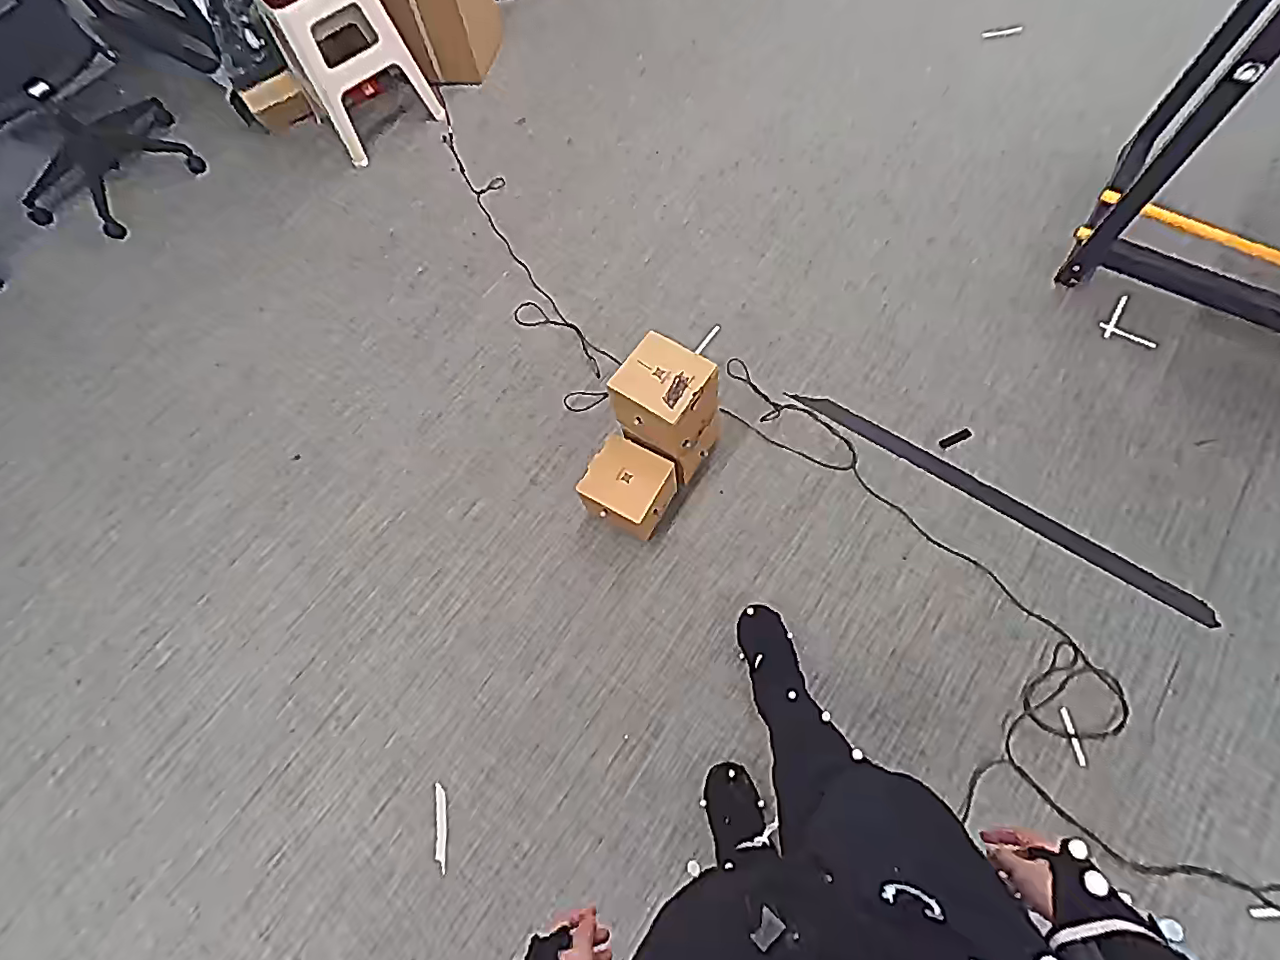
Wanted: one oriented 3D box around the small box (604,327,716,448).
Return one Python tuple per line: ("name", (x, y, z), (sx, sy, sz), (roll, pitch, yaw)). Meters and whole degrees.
("small box", (0.050, -0.192, 1.181), (0.179, 0.176, 0.168), (33, 75, 18))
